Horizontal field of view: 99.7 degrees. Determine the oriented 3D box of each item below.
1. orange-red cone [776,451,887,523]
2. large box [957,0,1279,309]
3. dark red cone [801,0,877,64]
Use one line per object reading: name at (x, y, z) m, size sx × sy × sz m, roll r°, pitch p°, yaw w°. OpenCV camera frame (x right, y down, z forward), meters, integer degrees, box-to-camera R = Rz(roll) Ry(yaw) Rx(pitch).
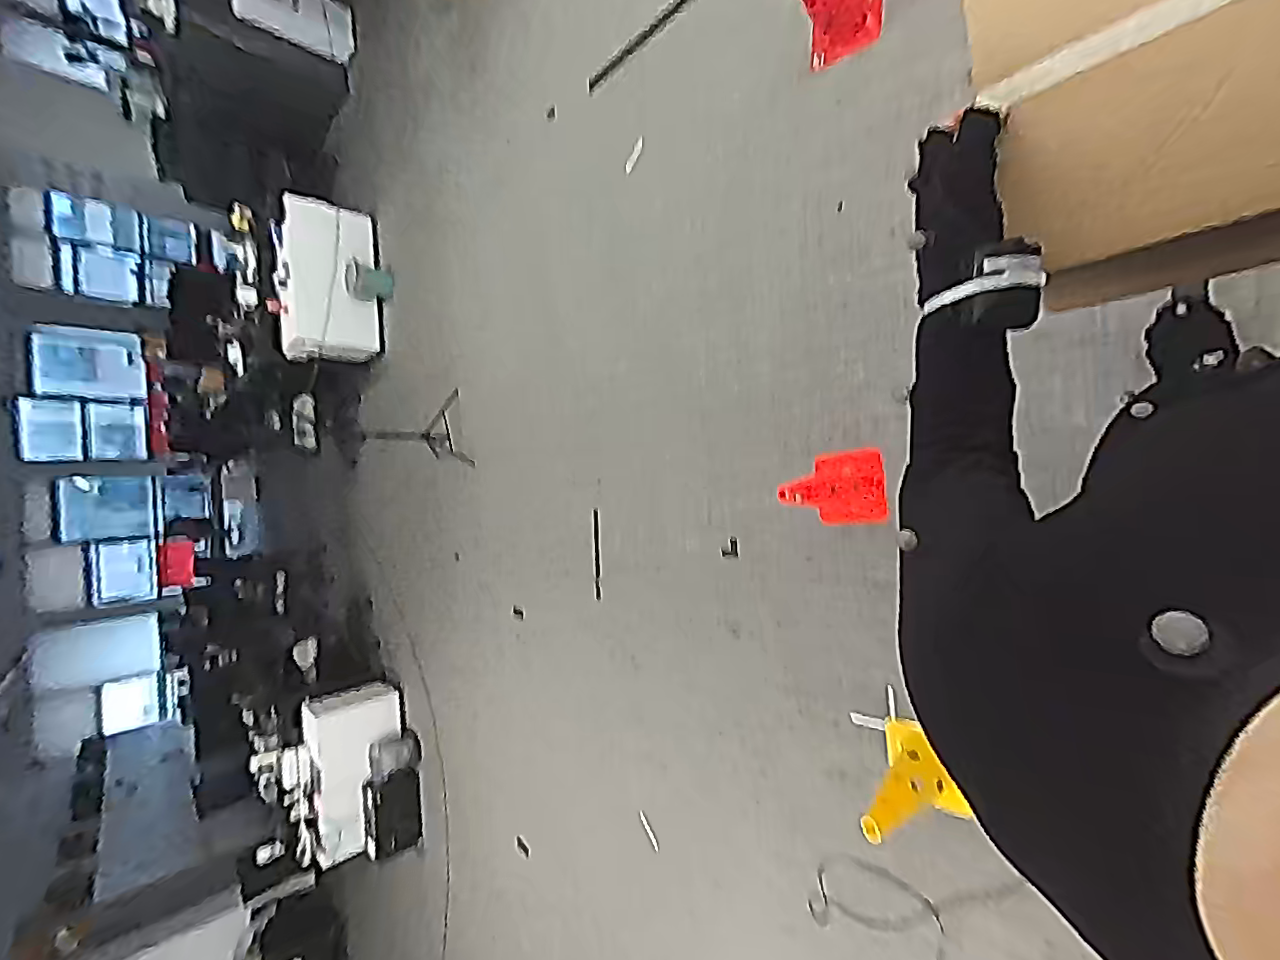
orange-red cone at (0.471, 0.030, 1.415) m, size 0.198 × 0.360 × 0.199 m, roll -7°, pitch 88°, yaw 47°
large box at (0.534, -0.368, 0.445) m, size 0.408 × 0.320 × 0.320 m, roll -7°, pitch 93°, yaw 44°
dark red cone at (0.431, -1.268, 1.357) m, size 0.201 × 0.394 × 0.202 m, roll 5°, pitch 95°, yaw 45°
